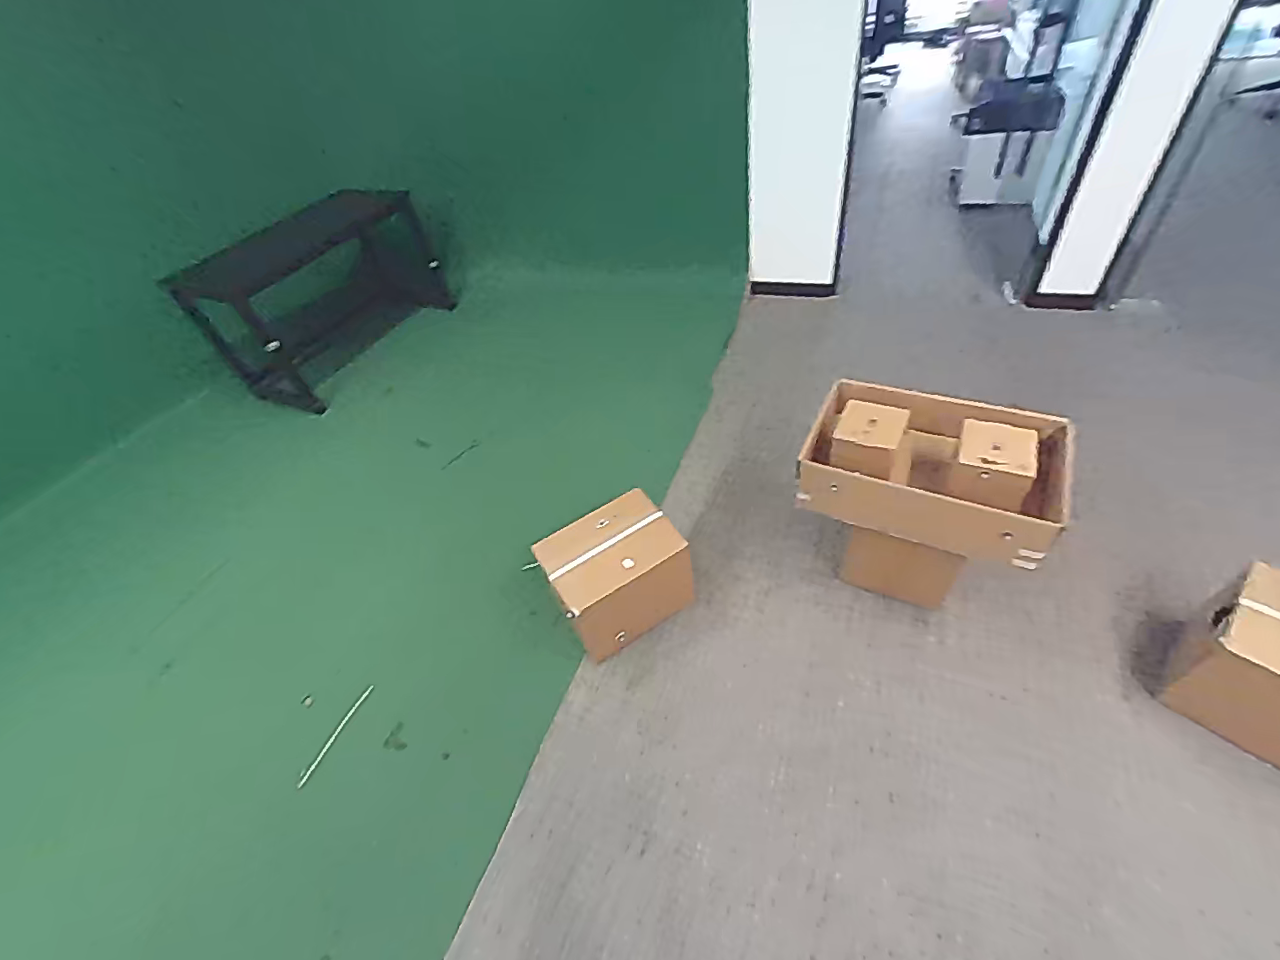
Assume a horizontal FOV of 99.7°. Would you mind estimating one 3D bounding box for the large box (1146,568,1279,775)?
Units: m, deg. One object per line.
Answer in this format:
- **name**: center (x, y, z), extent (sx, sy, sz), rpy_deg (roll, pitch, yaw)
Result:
- **large box**: center (1.573, 0.496, 1.293), extent (0.320, 0.320, 0.408), rpy_deg (-39, 51, -25)
